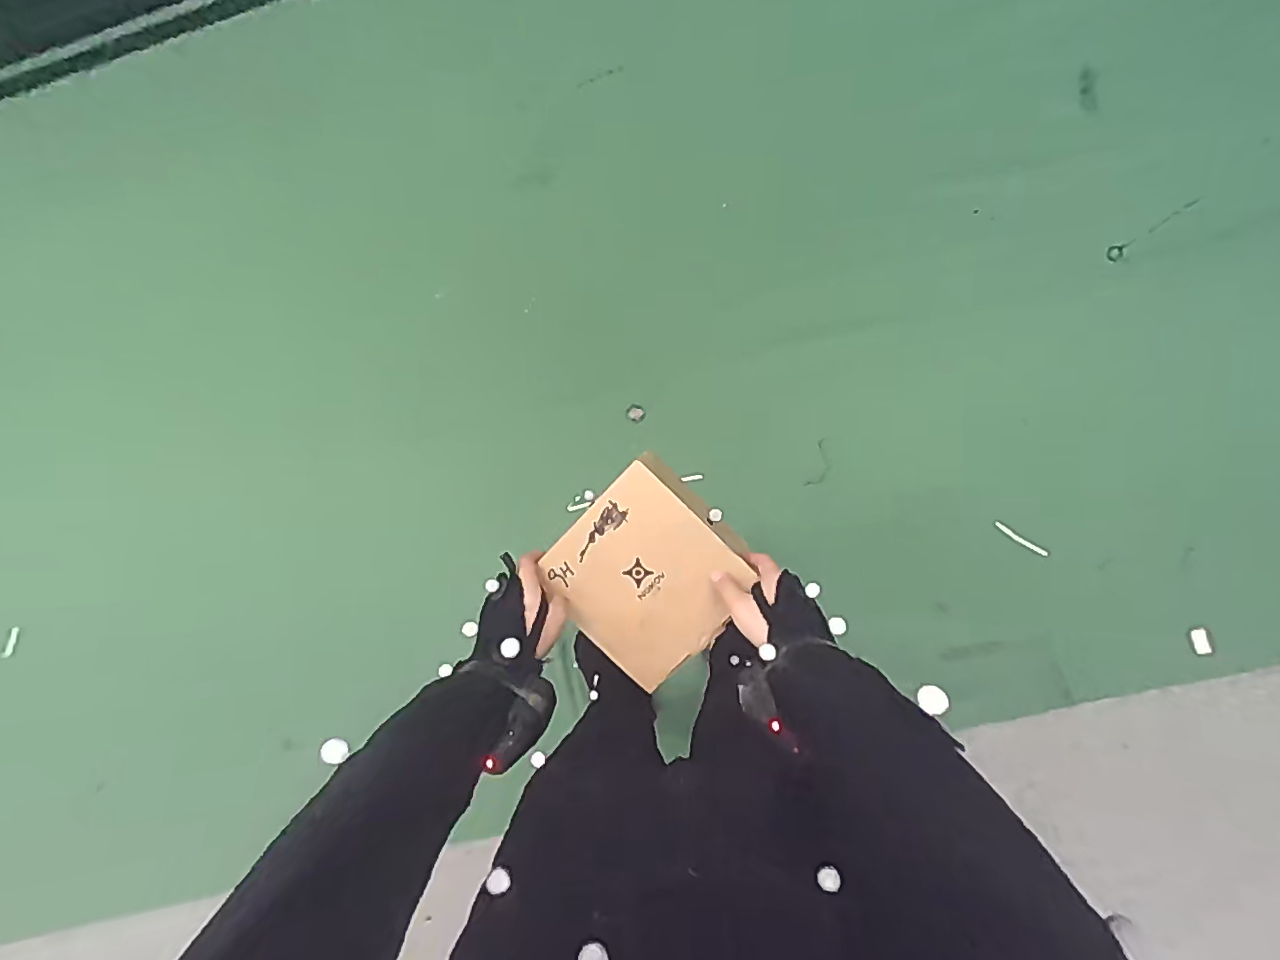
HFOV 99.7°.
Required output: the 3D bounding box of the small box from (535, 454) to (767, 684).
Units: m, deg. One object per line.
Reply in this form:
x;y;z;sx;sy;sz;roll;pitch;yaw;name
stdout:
0.017;0.084;0.615;0.179;0.176;0.168;43;98;-1;small box
